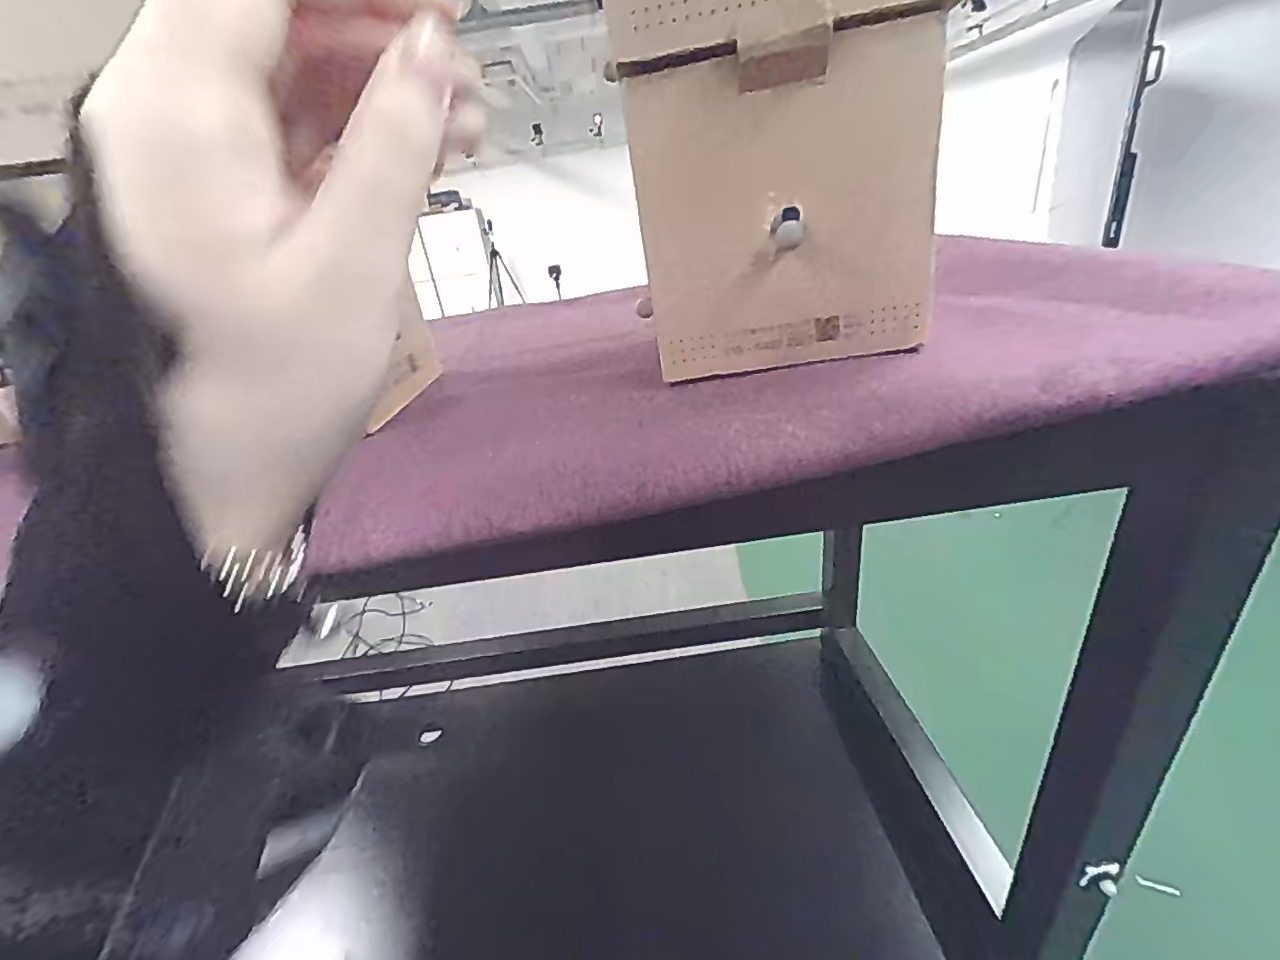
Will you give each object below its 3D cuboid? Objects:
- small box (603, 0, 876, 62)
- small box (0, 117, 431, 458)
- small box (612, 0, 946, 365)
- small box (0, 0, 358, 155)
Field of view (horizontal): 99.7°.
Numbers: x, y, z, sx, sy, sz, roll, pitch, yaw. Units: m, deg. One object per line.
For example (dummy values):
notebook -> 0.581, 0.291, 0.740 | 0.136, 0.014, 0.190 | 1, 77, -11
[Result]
small box -> 0.061, -0.327, 0.293 | 0.179, 0.176, 0.168 | -7, 24, 6
small box -> -0.273, -0.124, 0.372 | 0.179, 0.176, 0.168 | -8, 25, 0
small box -> 0.085, -0.183, 0.370 | 0.168, 0.176, 0.179 | -7, 25, 7
small box -> -0.288, -0.269, 0.302 | 0.168, 0.176, 0.179 | -8, 24, -2
